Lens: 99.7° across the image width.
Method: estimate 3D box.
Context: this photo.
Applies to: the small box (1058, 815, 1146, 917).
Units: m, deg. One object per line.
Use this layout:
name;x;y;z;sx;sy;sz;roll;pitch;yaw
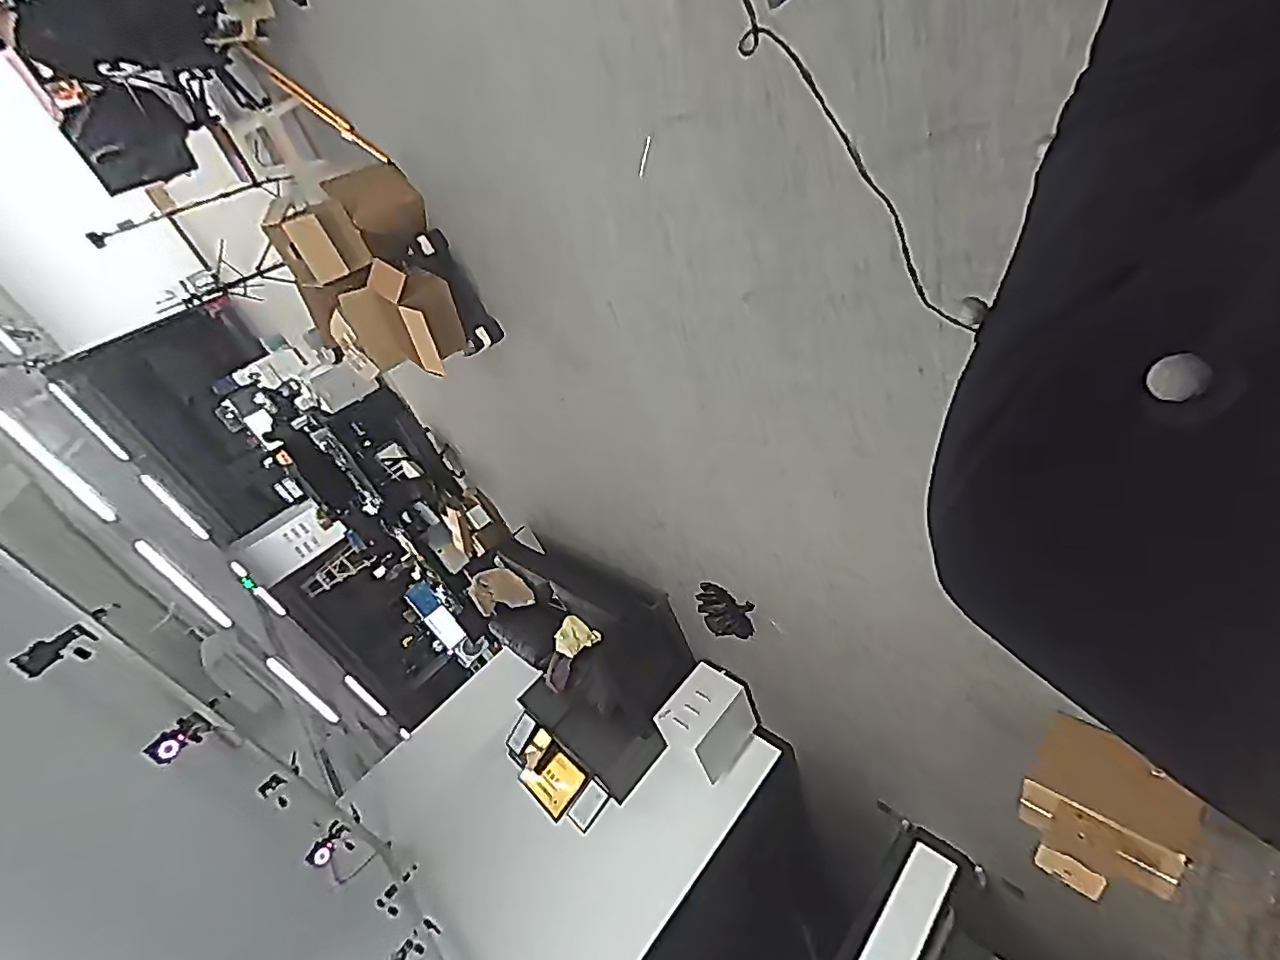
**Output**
small box;1.438;1.194;1.683;0.168;0.176;0.179;20;140;45
